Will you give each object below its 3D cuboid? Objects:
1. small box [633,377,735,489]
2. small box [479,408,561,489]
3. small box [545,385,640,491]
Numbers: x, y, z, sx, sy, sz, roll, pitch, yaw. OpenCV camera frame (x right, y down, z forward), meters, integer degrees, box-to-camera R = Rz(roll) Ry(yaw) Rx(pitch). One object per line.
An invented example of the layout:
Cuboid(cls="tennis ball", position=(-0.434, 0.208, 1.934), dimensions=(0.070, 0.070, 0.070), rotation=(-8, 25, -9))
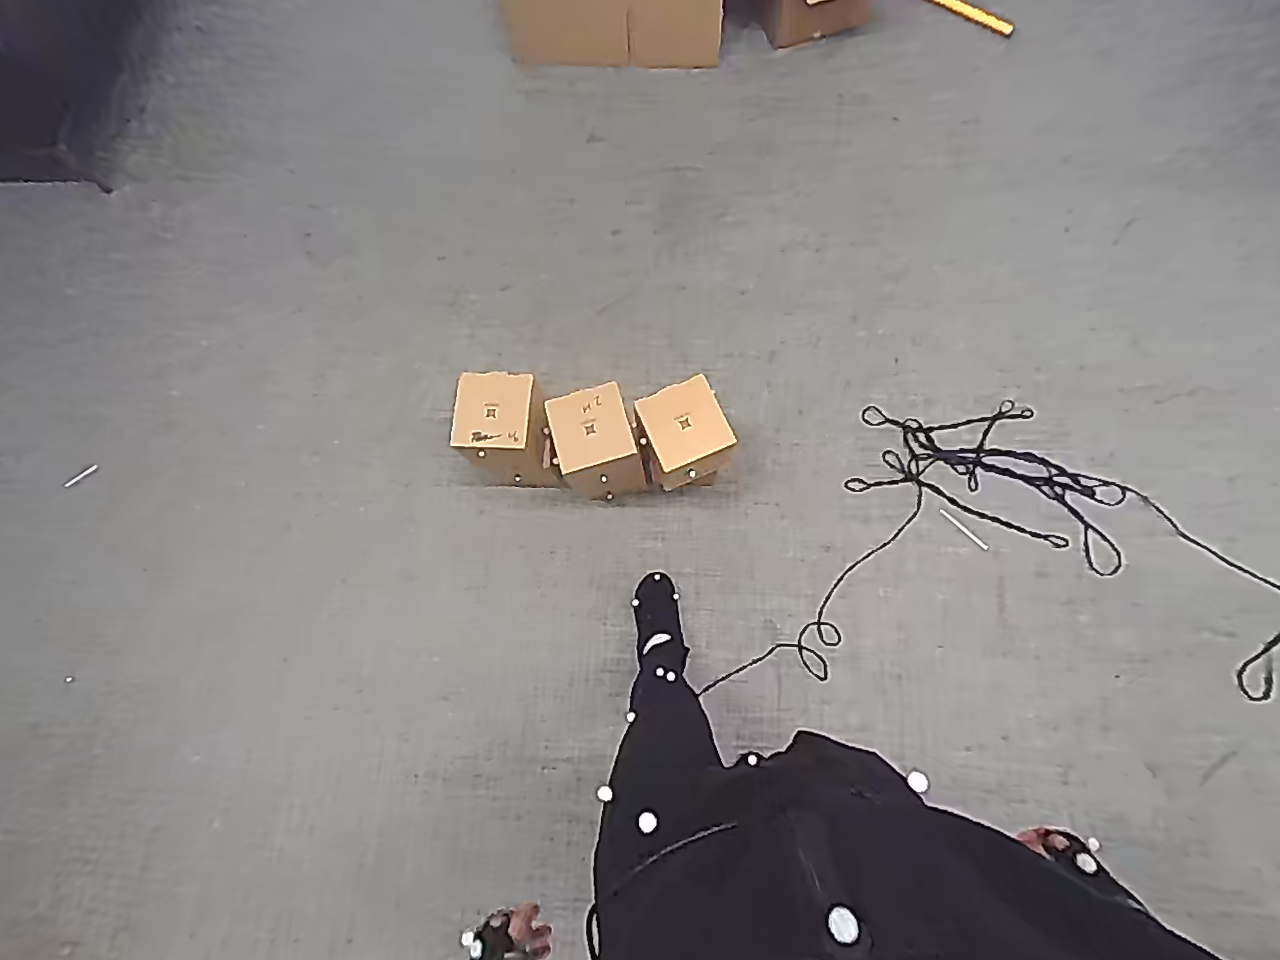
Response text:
Cuboid(cls="small box", position=(0.096, -0.093, 1.207), dimensions=(0.168, 0.176, 0.179), rotation=(-23, 73, -4))
Cuboid(cls="small box", position=(-0.297, -0.078, 1.399), dimensions=(0.179, 0.176, 0.168), rotation=(1, 74, 4))
Cuboid(cls="small box", position=(-0.100, -0.084, 1.220), dimensions=(0.168, 0.176, 0.179), rotation=(-15, 73, -1))
